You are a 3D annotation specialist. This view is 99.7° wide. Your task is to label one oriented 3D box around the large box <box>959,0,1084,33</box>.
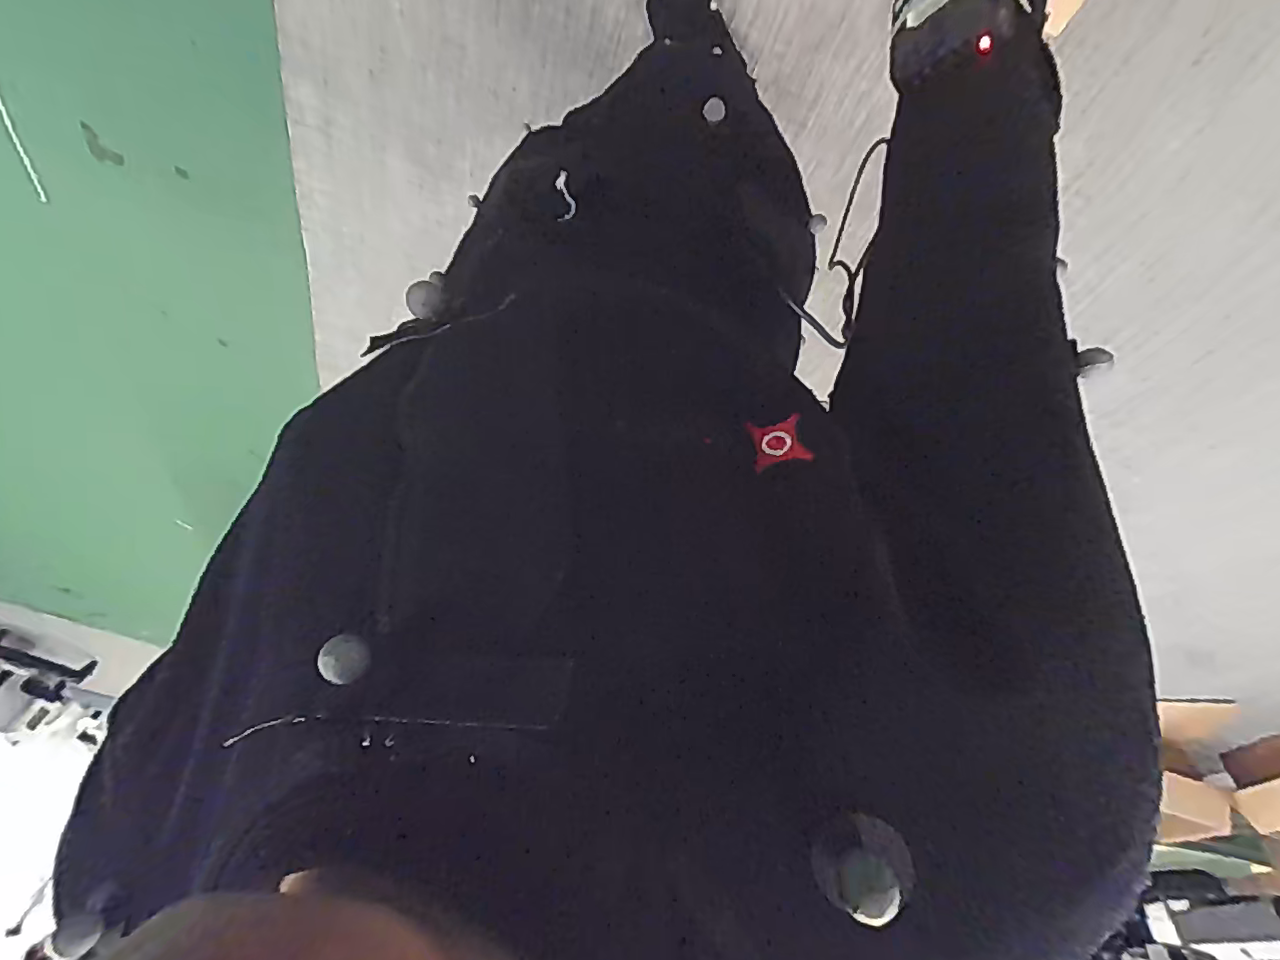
[{"bbox_3d":[0.391,-0.806,0.631,0.408,0.320,0.320,18,137,-9],"label":"large box"}]
